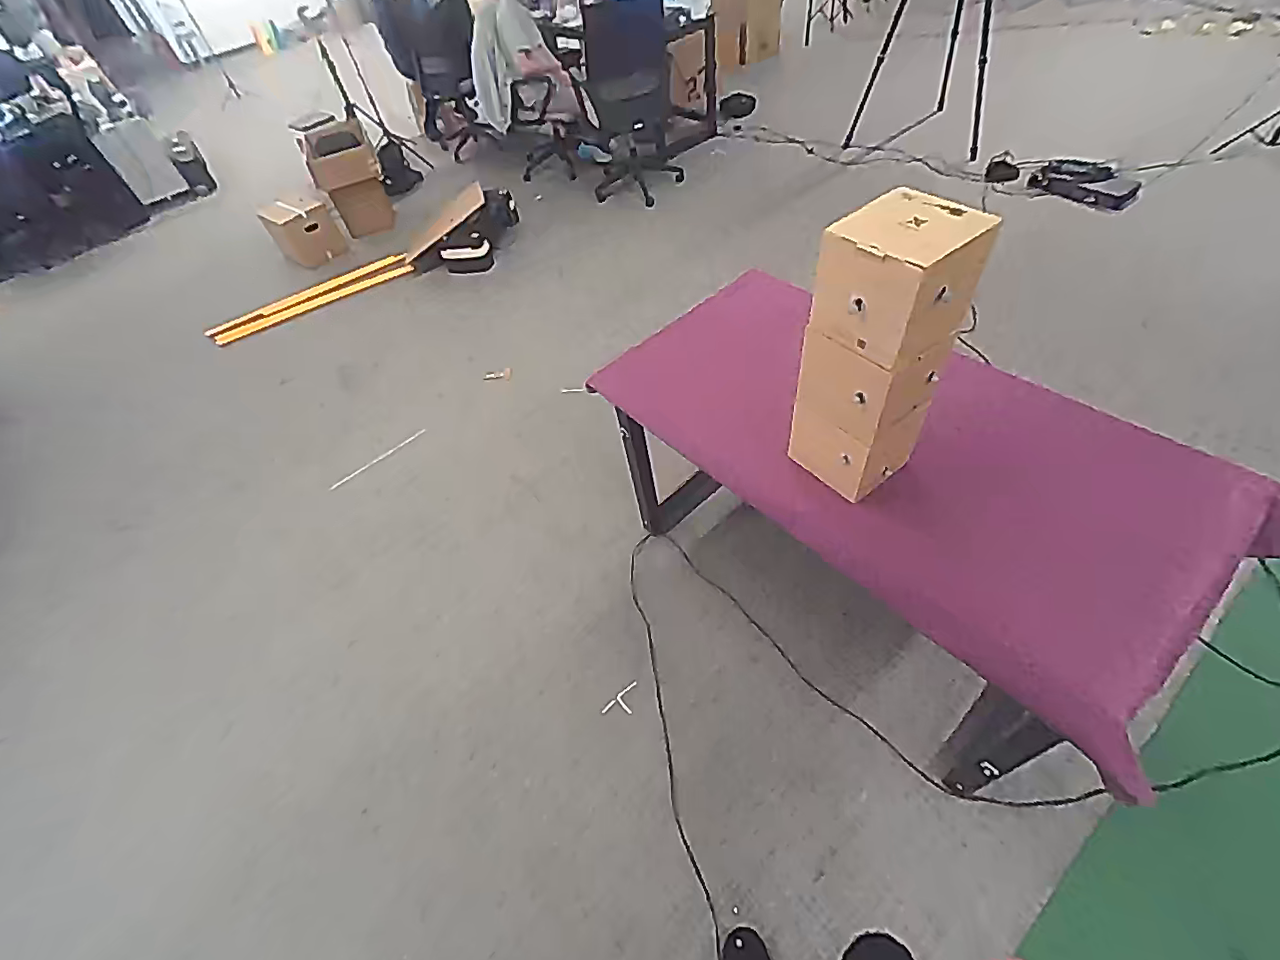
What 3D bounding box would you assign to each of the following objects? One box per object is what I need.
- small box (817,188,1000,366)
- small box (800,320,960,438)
[{"bbox_3d":[0.387,-0.303,0.815,0.179,0.176,0.168,-34,54,-17],"label":"small box"},{"bbox_3d":[0.402,-0.197,0.938,0.168,0.176,0.179,-33,53,-17],"label":"small box"}]
